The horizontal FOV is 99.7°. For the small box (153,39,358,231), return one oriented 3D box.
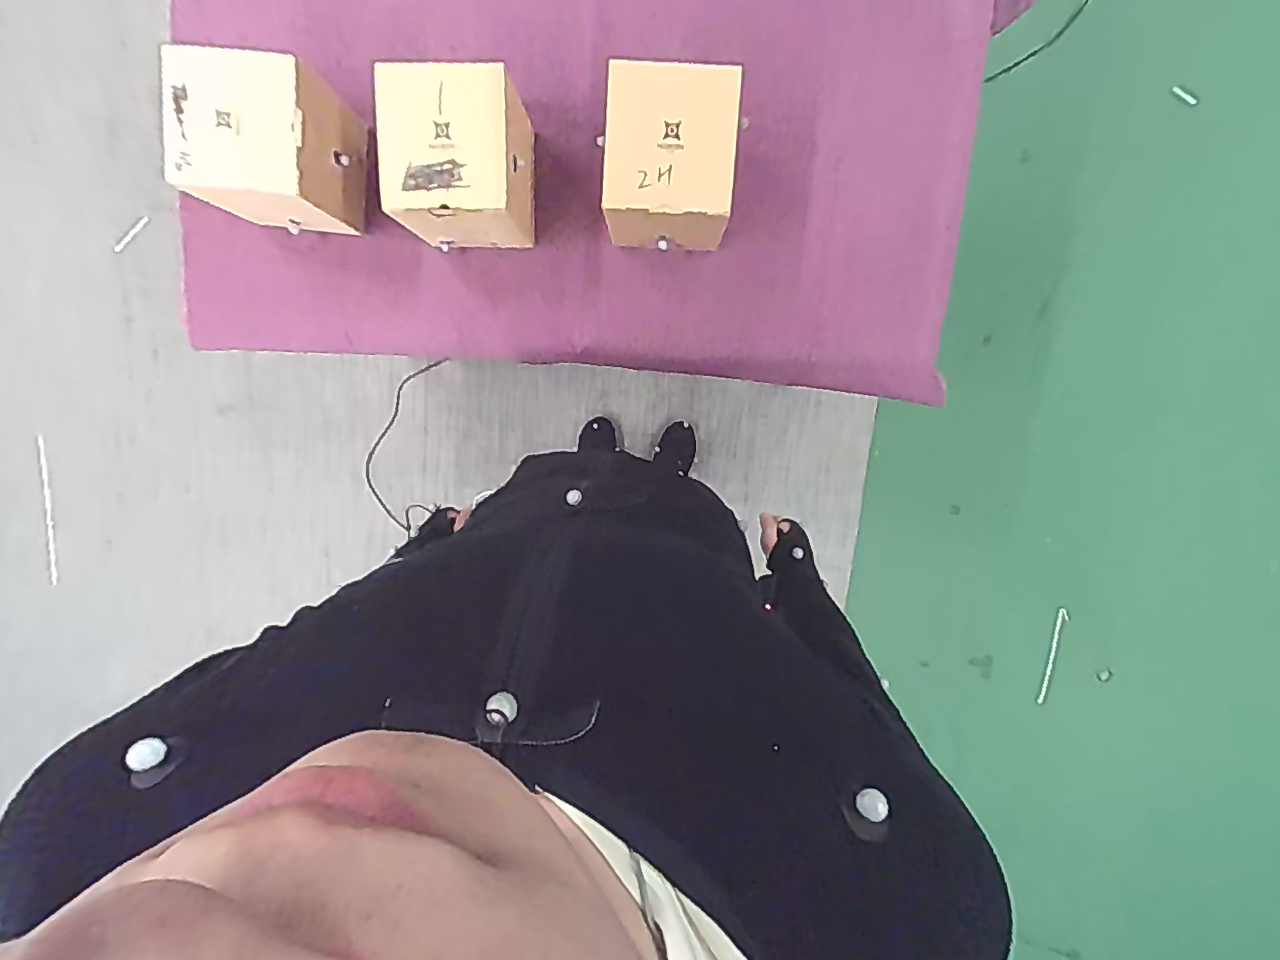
[{"bbox_3d":[-0.516,-0.460,0.752,0.179,0.176,0.168,5,98,-1],"label":"small box"}]

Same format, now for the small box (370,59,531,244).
[{"bbox_3d":[-0.249,-0.440,0.752,0.168,0.176,0.179,1,98,0],"label":"small box"}]

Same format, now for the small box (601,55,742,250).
[{"bbox_3d":[0.038,-0.438,0.748,0.168,0.176,0.179,4,99,1],"label":"small box"}]
